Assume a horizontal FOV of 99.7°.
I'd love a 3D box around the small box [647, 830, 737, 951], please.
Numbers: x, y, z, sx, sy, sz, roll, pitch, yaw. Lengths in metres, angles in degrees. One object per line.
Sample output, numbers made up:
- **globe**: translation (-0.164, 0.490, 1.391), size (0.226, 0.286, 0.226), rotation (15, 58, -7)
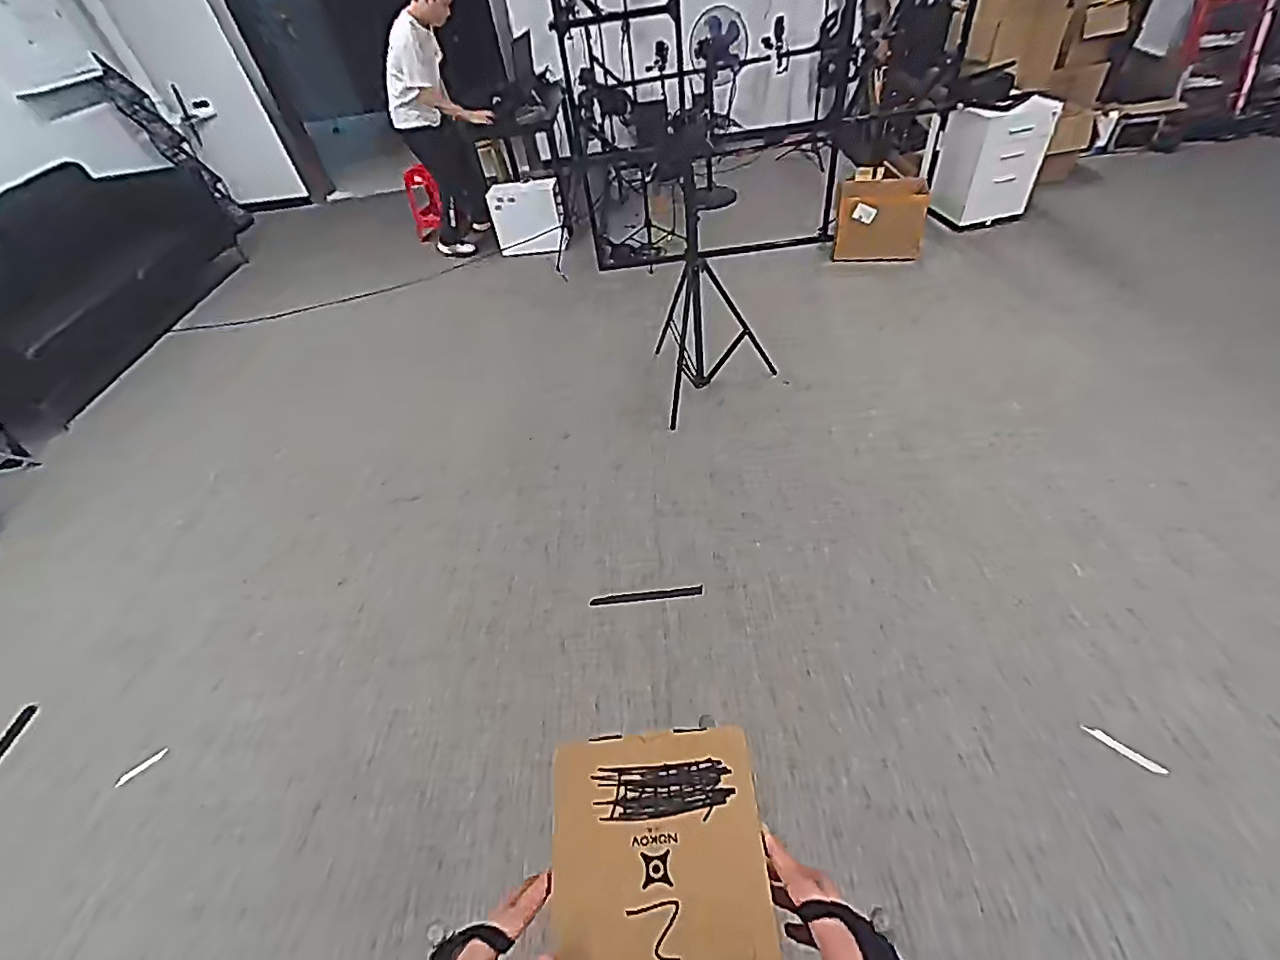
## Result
- **small box**: translation (0.106, 0.864, 1.138), size (0.168, 0.176, 0.179), rotation (-7, 45, 2)
